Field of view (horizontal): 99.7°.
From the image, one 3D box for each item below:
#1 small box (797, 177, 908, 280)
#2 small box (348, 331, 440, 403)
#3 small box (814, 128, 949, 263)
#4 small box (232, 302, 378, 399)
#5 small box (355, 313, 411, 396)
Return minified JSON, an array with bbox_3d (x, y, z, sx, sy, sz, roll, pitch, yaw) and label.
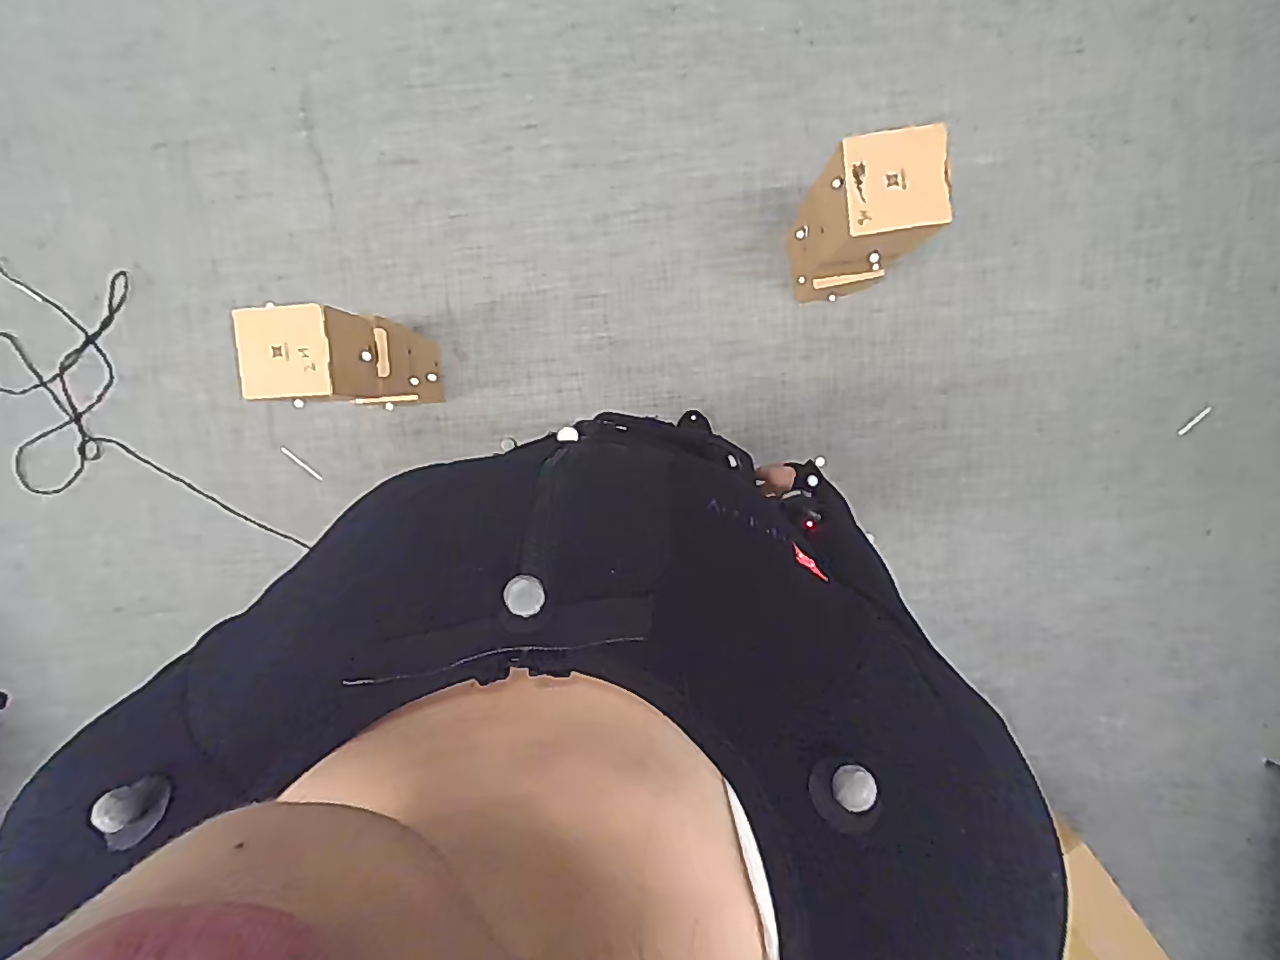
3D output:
[{"bbox_3d":[0.452,-0.544,1.168,0.179,0.176,0.168,-6,96,4],"label":"small box"},{"bbox_3d":[-0.630,-0.287,1.392,0.179,0.176,0.168,-3,96,3],"label":"small box"},{"bbox_3d":[0.441,-0.518,1.006,0.179,0.176,0.168,-7,96,2],"label":"small box"},{"bbox_3d":[-0.649,-0.247,1.066,0.179,0.176,0.168,-3,97,3],"label":"small box"},{"bbox_3d":[-0.638,-0.279,1.227,0.179,0.176,0.168,-2,96,4],"label":"small box"}]
